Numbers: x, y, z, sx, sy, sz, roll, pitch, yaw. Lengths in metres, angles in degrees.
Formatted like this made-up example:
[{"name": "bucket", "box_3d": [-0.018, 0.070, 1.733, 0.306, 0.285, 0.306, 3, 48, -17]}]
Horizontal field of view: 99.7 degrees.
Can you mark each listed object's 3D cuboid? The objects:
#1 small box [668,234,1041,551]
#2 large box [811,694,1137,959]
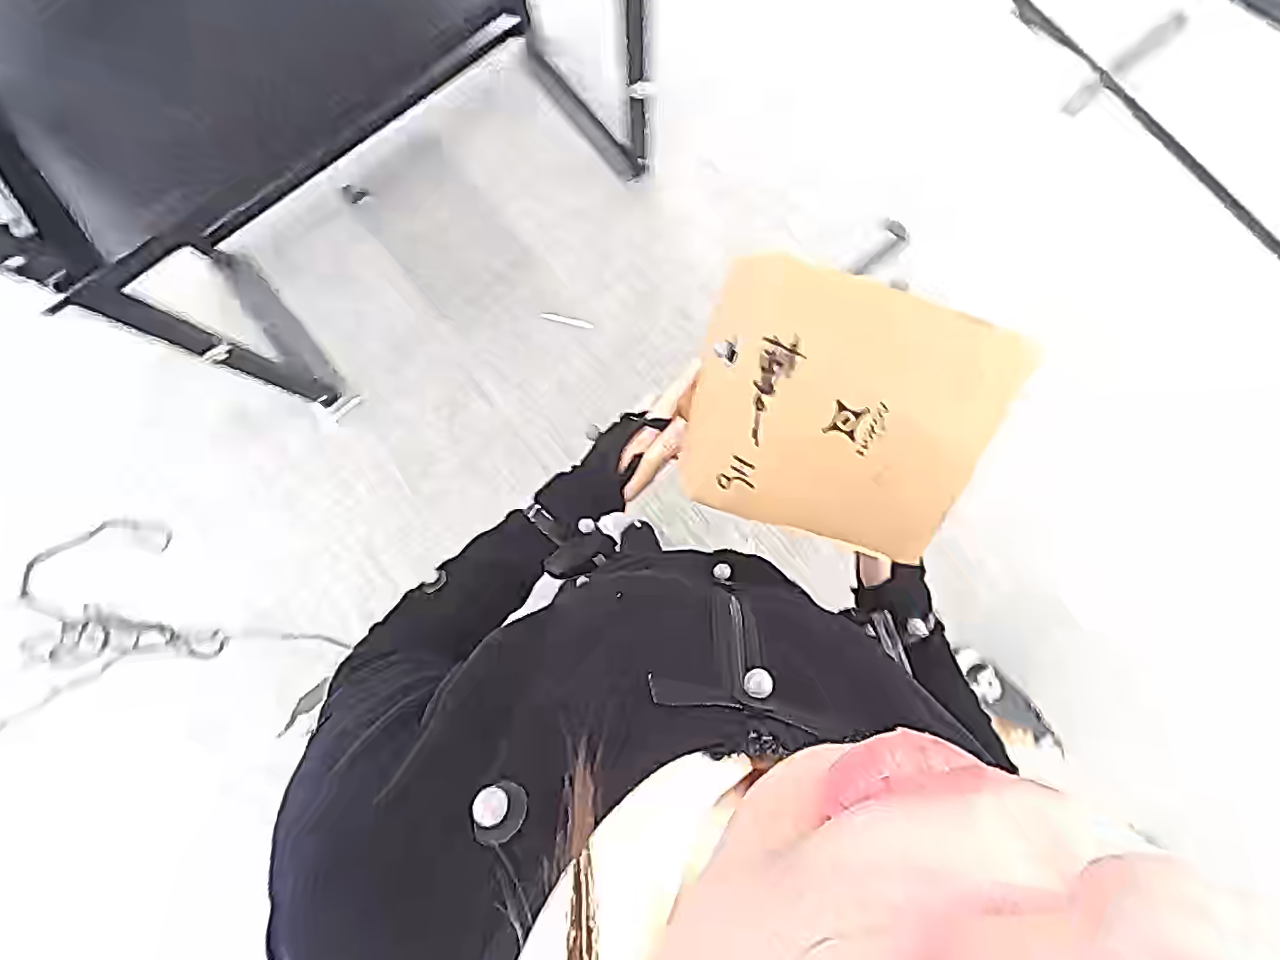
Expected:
[{"name": "small box", "box_3d": [0.131, -0.073, 0.410, 0.179, 0.176, 0.168, 16, 110, -8]}, {"name": "large box", "box_3d": [0.633, 0.722, 1.099, 0.408, 0.320, 0.320, -41, 86, -5]}]
